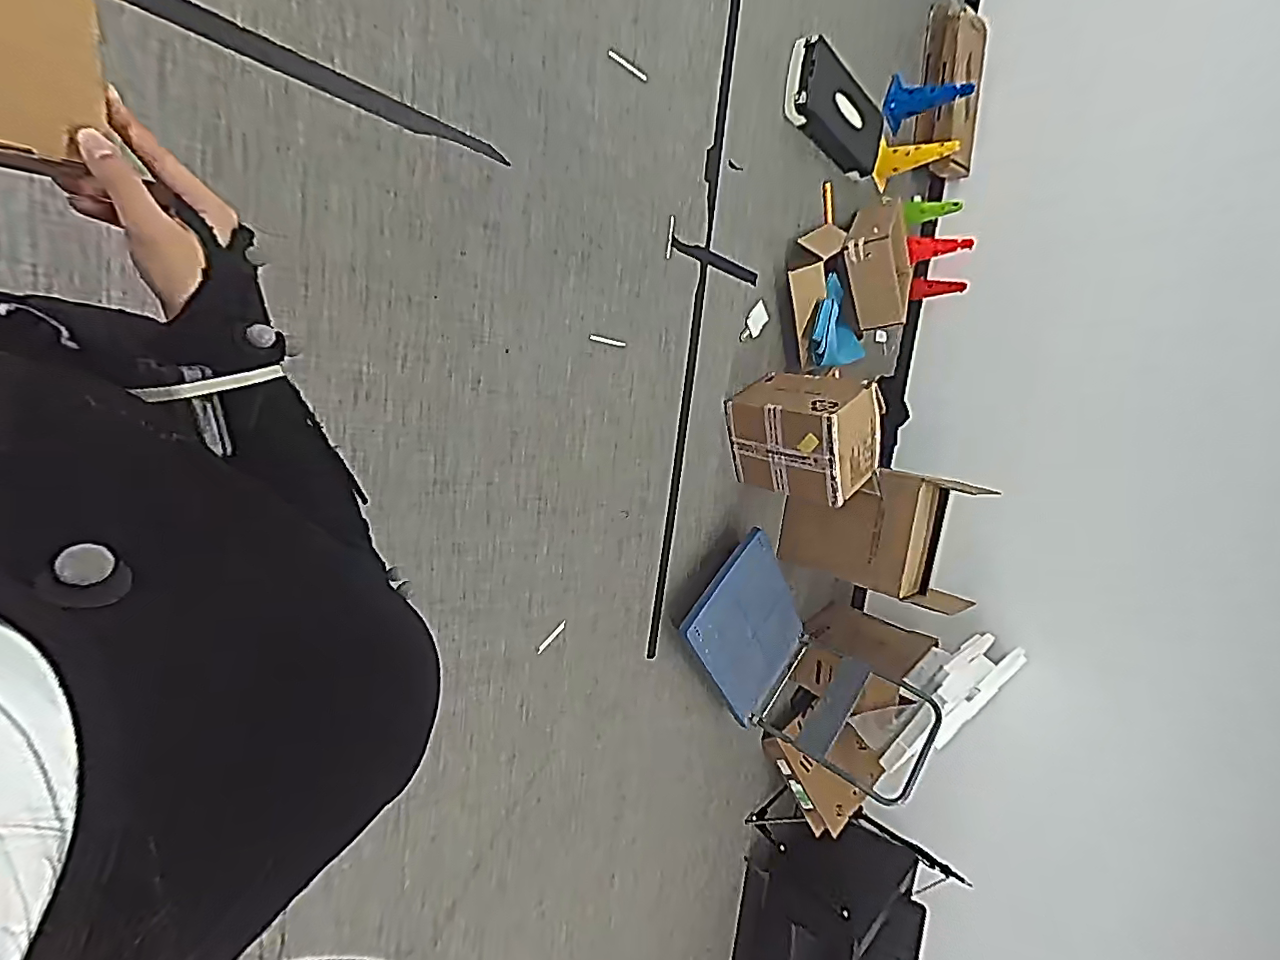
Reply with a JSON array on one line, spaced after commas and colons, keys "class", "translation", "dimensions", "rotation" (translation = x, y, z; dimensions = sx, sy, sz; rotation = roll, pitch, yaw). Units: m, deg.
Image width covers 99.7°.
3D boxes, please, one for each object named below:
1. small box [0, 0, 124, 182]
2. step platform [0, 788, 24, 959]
[{"class": "small box", "translation": [-0.397, -0.281, 0.286], "dimensions": [0.168, 0.176, 0.179], "rotation": [-6, 111, -44]}, {"class": "step platform", "translation": [-1.340, 0.703, 0.716], "dimensions": [0.684, 0.204, 0.286], "rotation": [-1, 102, -46]}]
